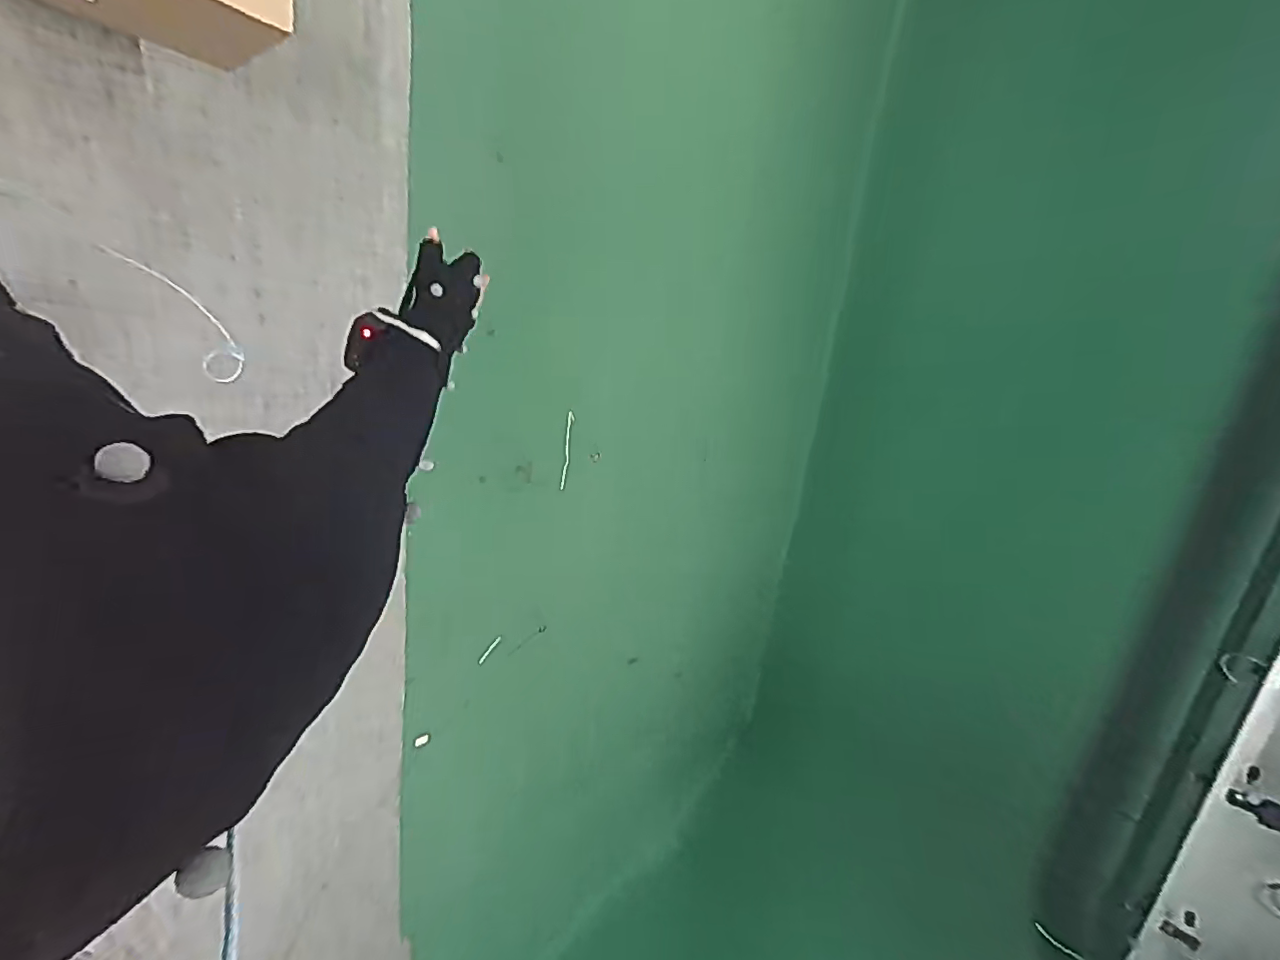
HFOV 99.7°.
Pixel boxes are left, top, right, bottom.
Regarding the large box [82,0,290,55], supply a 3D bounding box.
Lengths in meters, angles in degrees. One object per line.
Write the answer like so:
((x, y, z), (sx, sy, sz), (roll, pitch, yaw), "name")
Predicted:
((-0.739, -0.846, 0.709), (0.408, 0.320, 0.320), (-9, 113, -50), "large box")
